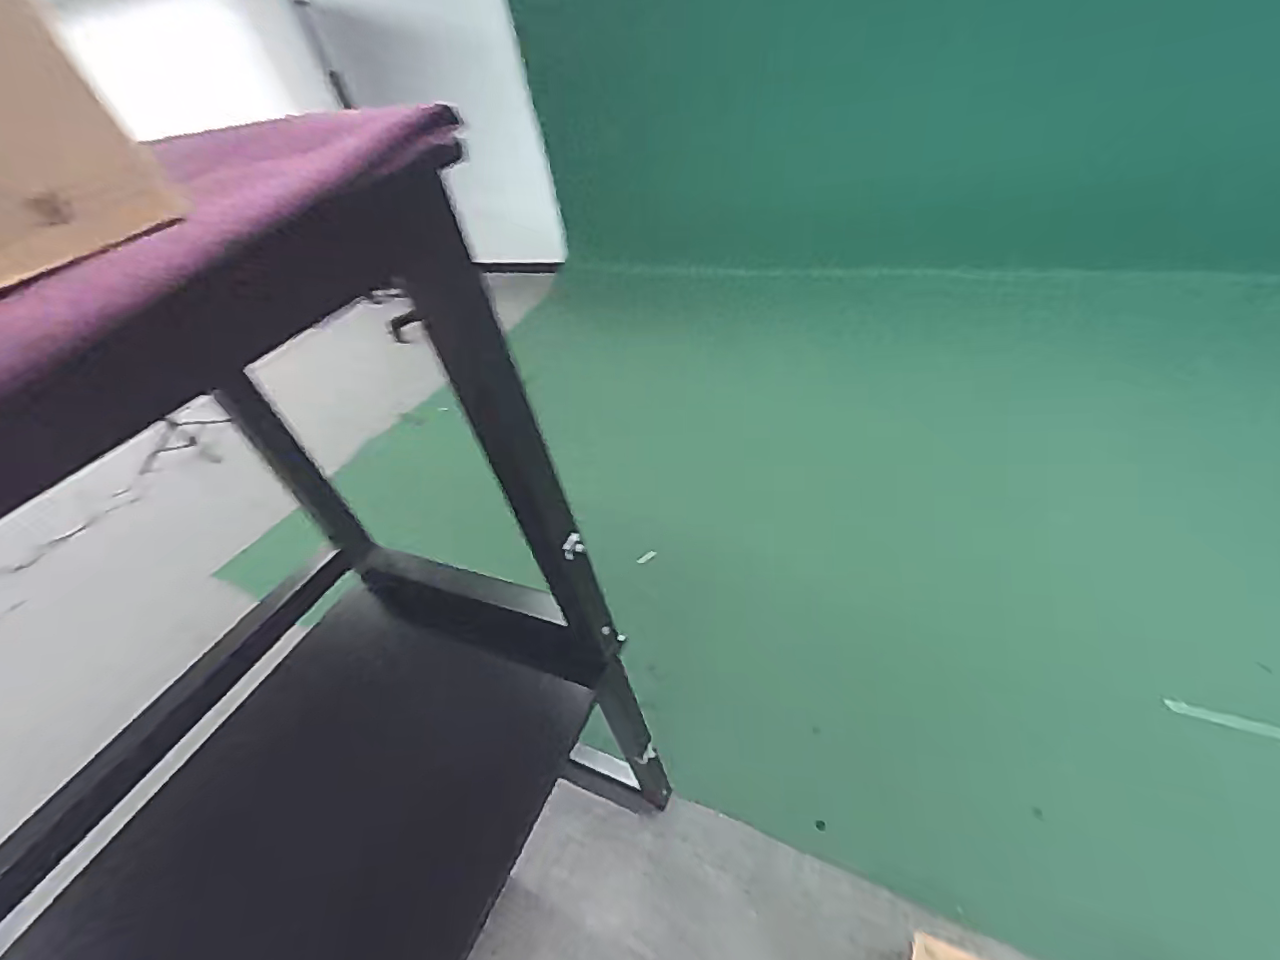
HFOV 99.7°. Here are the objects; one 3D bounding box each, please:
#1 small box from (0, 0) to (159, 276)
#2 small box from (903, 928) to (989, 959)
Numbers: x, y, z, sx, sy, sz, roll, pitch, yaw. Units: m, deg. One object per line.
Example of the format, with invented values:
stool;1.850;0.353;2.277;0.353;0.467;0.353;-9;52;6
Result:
small box;-0.414;-0.187;0.271;0.179;0.176;0.168;11;49;28
small box;0.563;0.953;0.962;0.168;0.176;0.179;9;46;24
